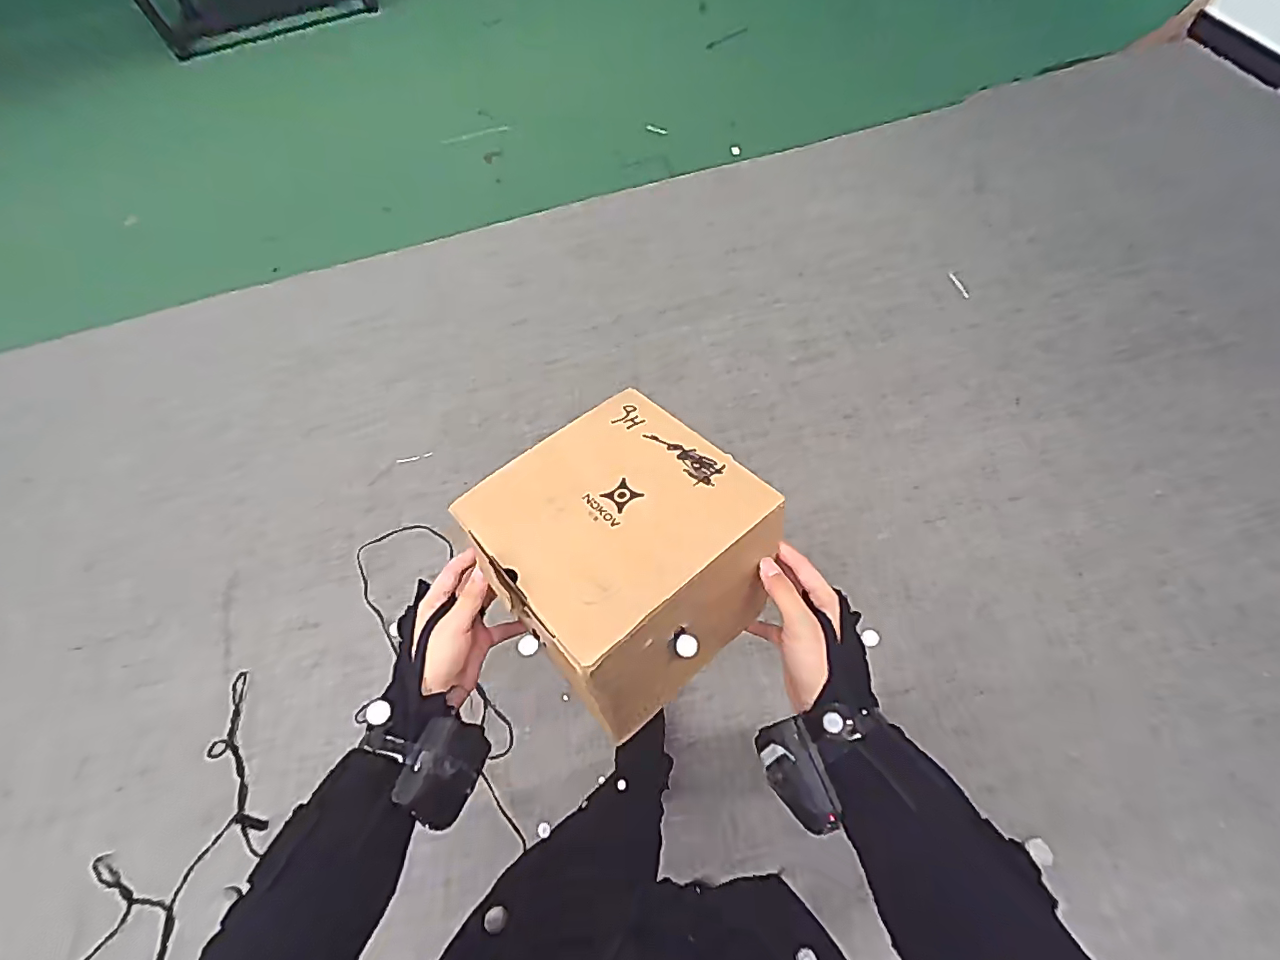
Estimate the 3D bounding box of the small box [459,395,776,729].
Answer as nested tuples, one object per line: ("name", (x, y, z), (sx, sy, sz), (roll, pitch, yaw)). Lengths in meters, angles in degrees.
("small box", (-0.010, 0.070, 0.447), (0.179, 0.176, 0.168), (-37, 56, -21))
